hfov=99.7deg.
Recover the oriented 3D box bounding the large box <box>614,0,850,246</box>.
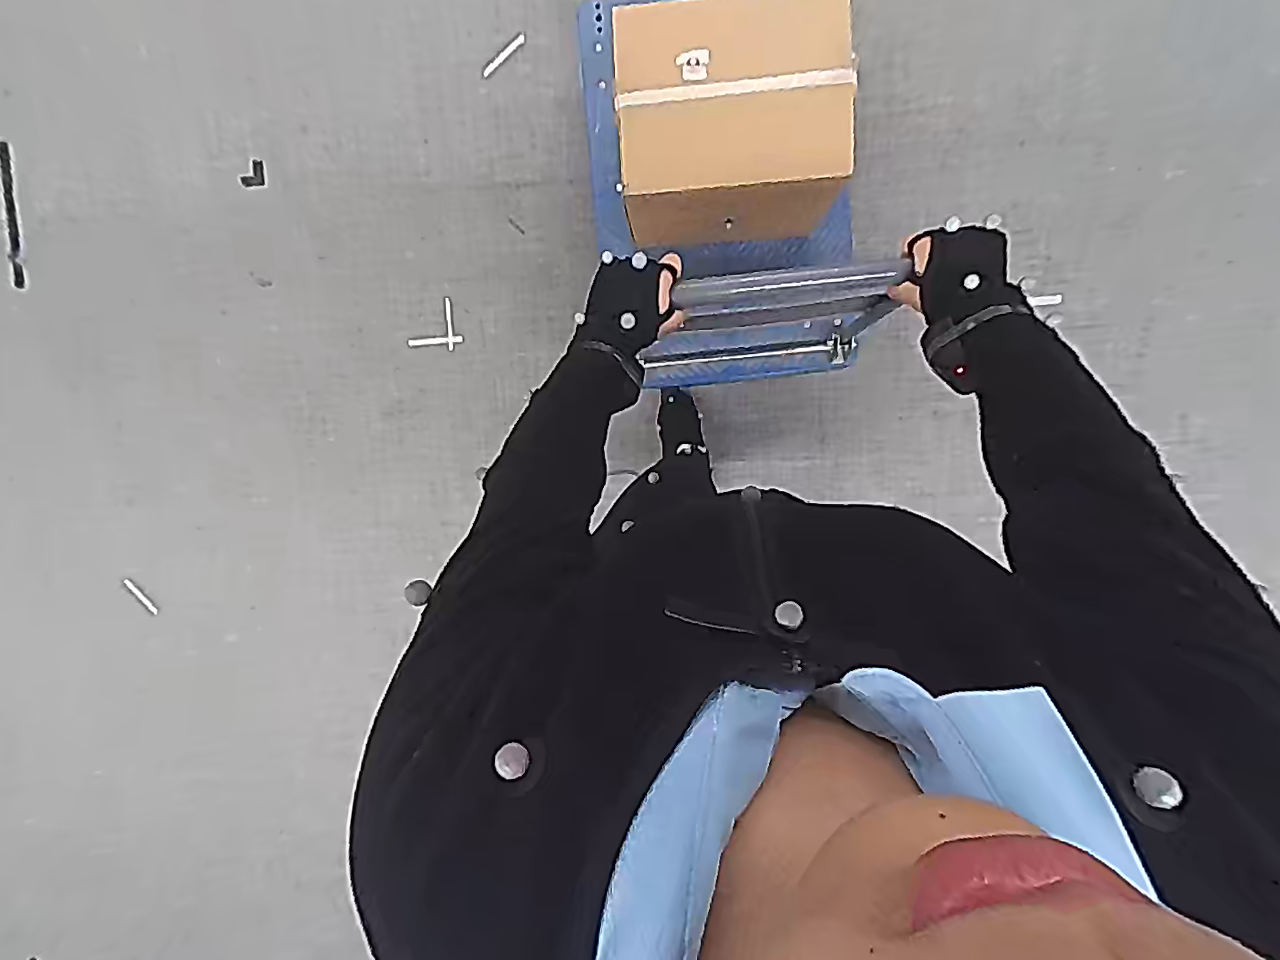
[{"bbox_3d":[0.174,-0.695,1.097,0.408,0.320,0.320,-3,95,5],"label":"large box"}]
